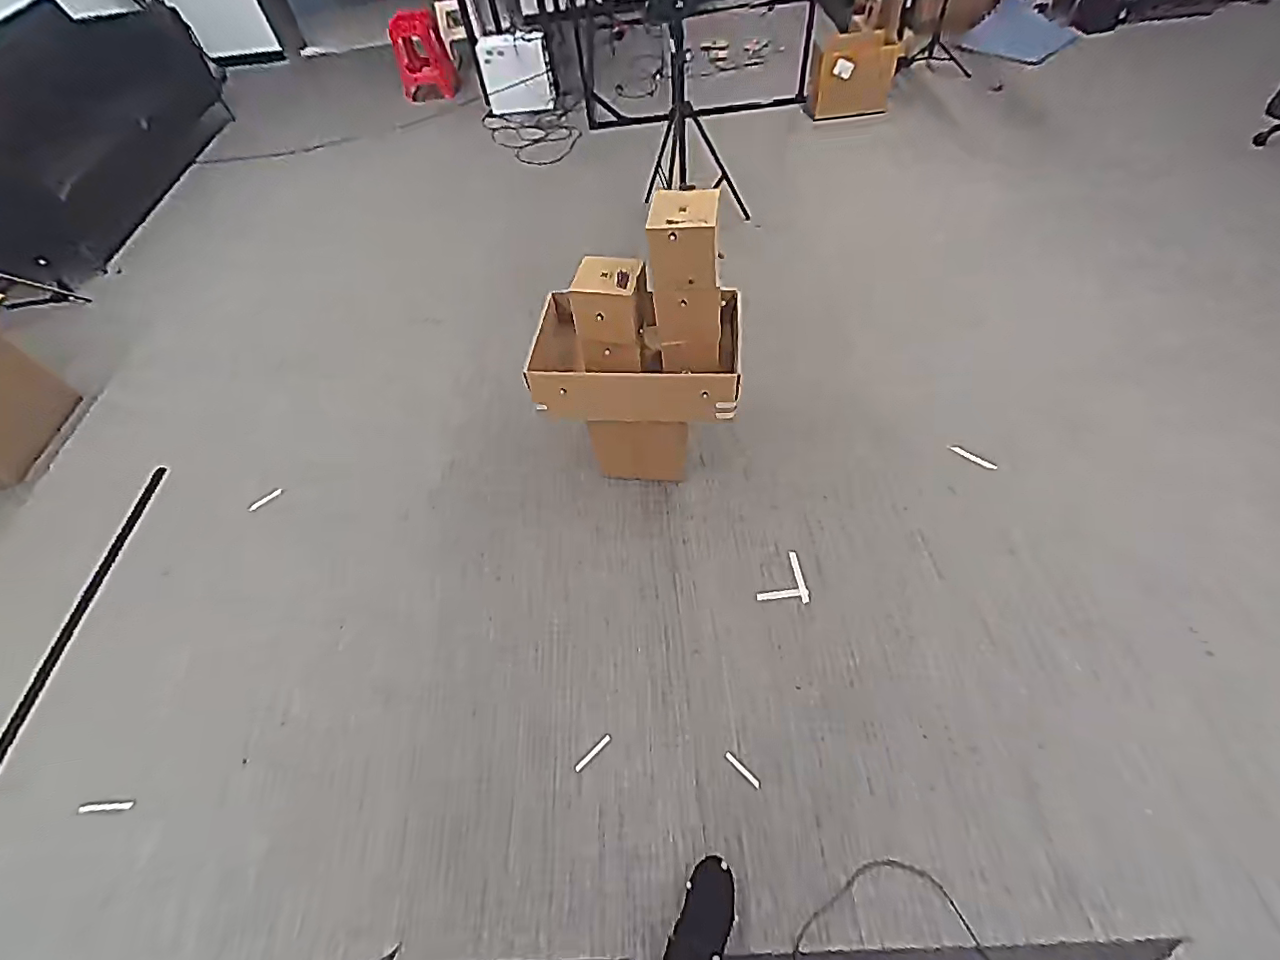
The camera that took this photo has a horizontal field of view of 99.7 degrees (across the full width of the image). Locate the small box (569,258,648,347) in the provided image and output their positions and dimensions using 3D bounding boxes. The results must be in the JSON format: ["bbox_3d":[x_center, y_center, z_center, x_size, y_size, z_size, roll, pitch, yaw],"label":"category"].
[{"bbox_3d":[-0.080,-0.492,1.510,0.179,0.176,0.168,8,55,11],"label":"small box"}]

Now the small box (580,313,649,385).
[{"bbox_3d":[-0.069,-0.407,1.650,0.179,0.176,0.168,4,54,9],"label":"small box"}]

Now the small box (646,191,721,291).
[{"bbox_3d":[0.115,-0.597,1.354,0.168,0.176,0.179,3,54,12],"label":"small box"}]
